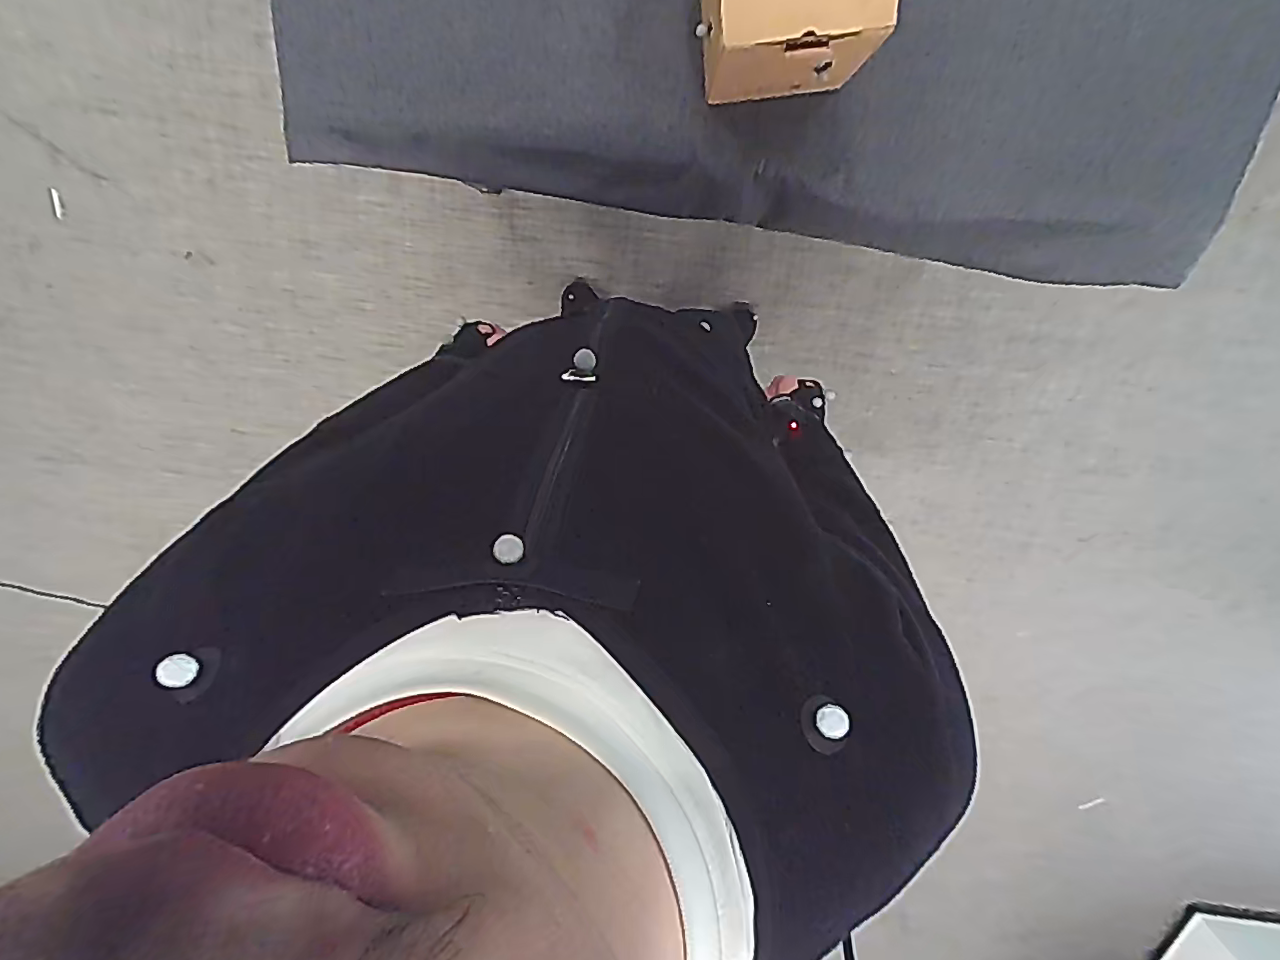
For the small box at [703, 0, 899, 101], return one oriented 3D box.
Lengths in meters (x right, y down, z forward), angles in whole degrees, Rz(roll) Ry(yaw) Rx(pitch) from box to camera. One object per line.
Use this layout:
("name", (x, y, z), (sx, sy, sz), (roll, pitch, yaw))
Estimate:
("small box", (0.157, -0.523, 0.565), (0.168, 0.176, 0.179), (-6, 109, 2))
